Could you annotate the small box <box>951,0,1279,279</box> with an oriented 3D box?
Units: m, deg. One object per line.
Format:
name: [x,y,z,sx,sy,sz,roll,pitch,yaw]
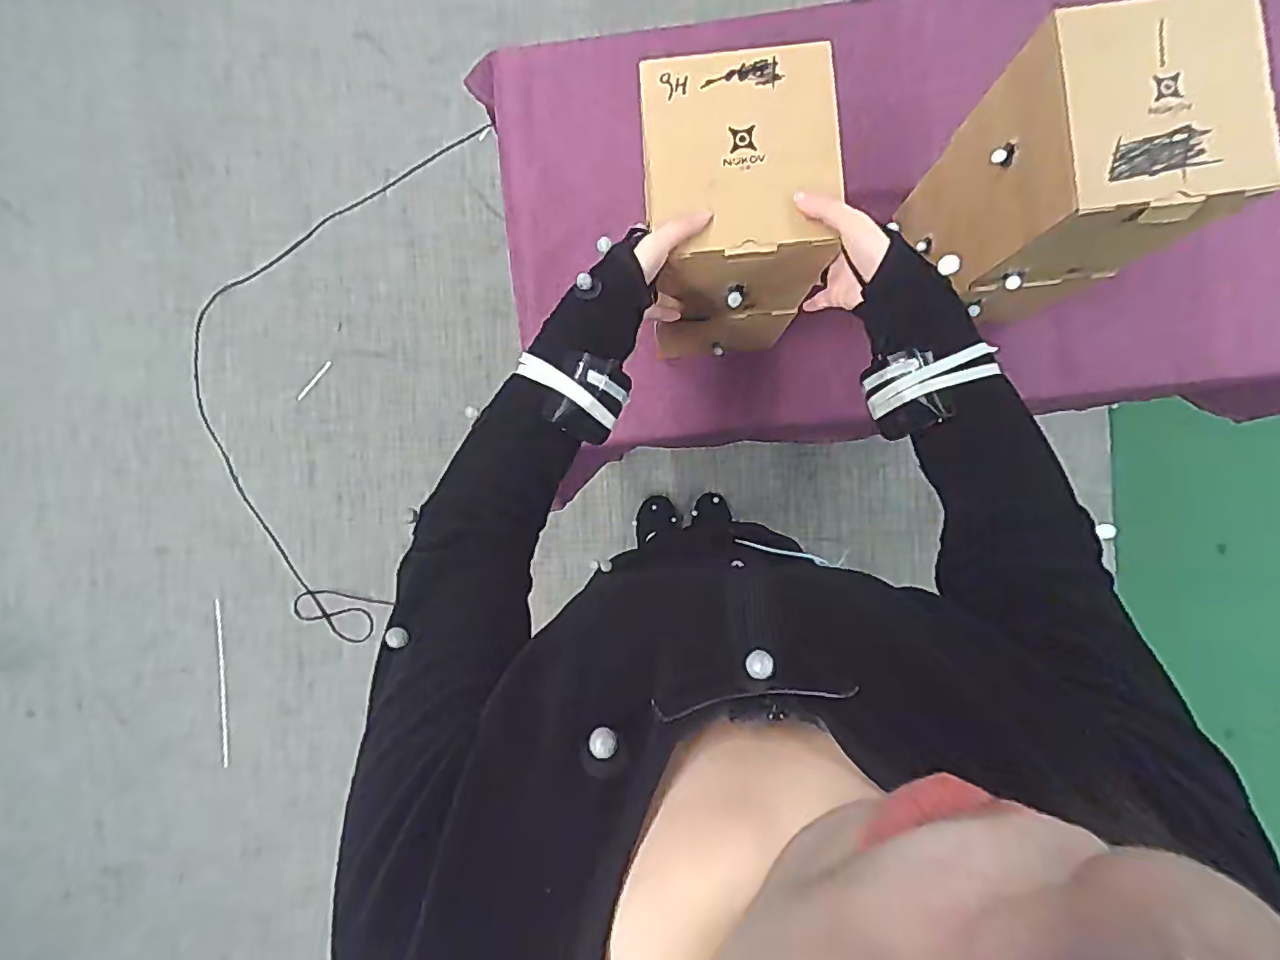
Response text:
small box: [0.434,-0.311,0.526,0.168,0.176,0.179,-6,87,2]

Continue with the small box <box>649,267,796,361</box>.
small box: [0.096,-0.267,0.705,0.168,0.176,0.179,-4,88,3]

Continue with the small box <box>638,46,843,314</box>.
small box: [0.089,-0.276,0.541,0.168,0.176,0.179,-5,89,2]
